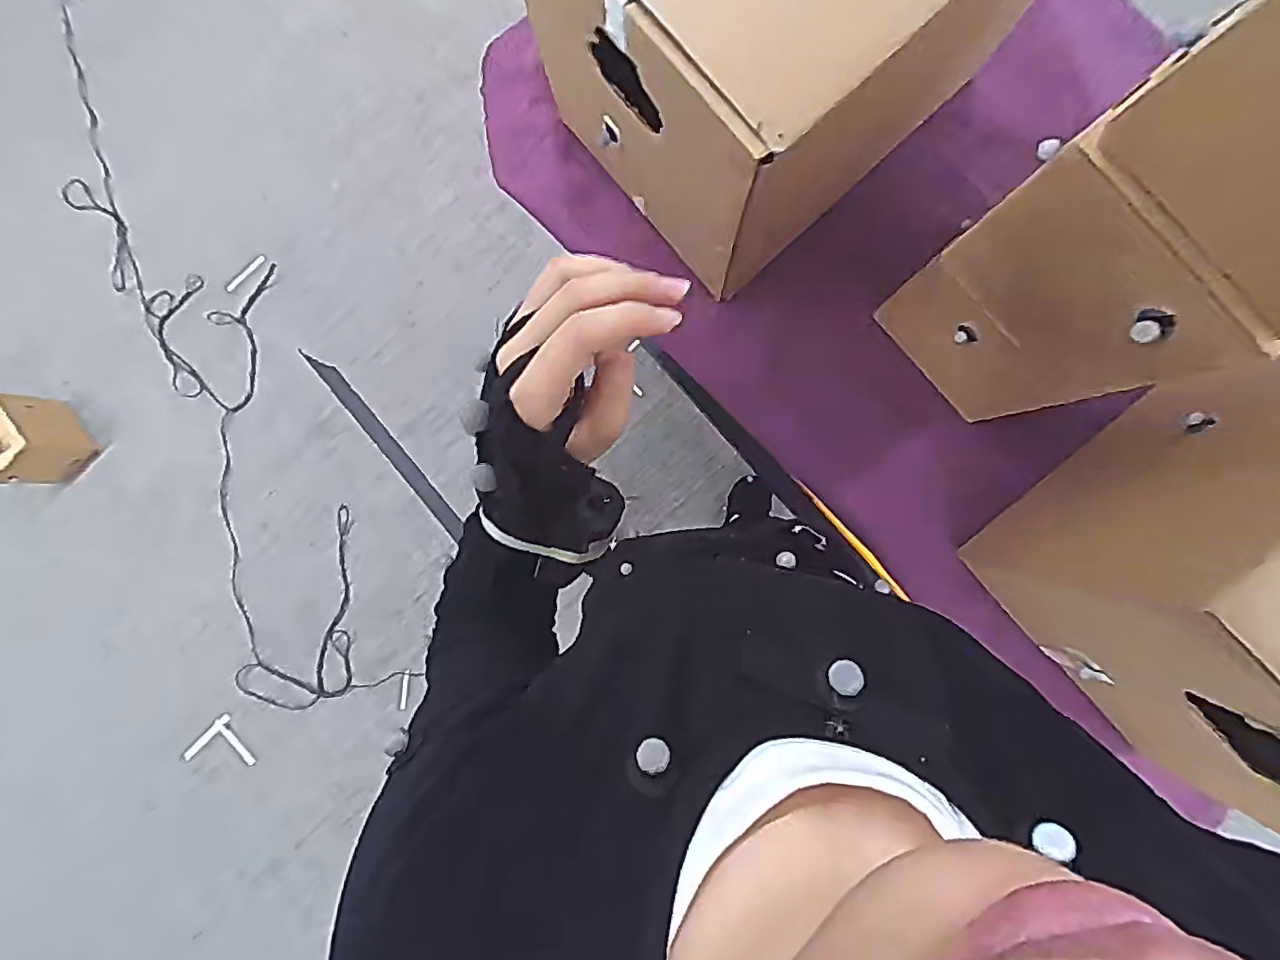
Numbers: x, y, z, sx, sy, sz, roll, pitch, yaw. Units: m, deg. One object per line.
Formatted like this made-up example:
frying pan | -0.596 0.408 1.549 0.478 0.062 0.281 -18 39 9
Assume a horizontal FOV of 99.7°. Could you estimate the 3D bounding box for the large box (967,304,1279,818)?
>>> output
large box | 0.608 0.058 0.469 0.408 0.320 0.320 -42 88 1
